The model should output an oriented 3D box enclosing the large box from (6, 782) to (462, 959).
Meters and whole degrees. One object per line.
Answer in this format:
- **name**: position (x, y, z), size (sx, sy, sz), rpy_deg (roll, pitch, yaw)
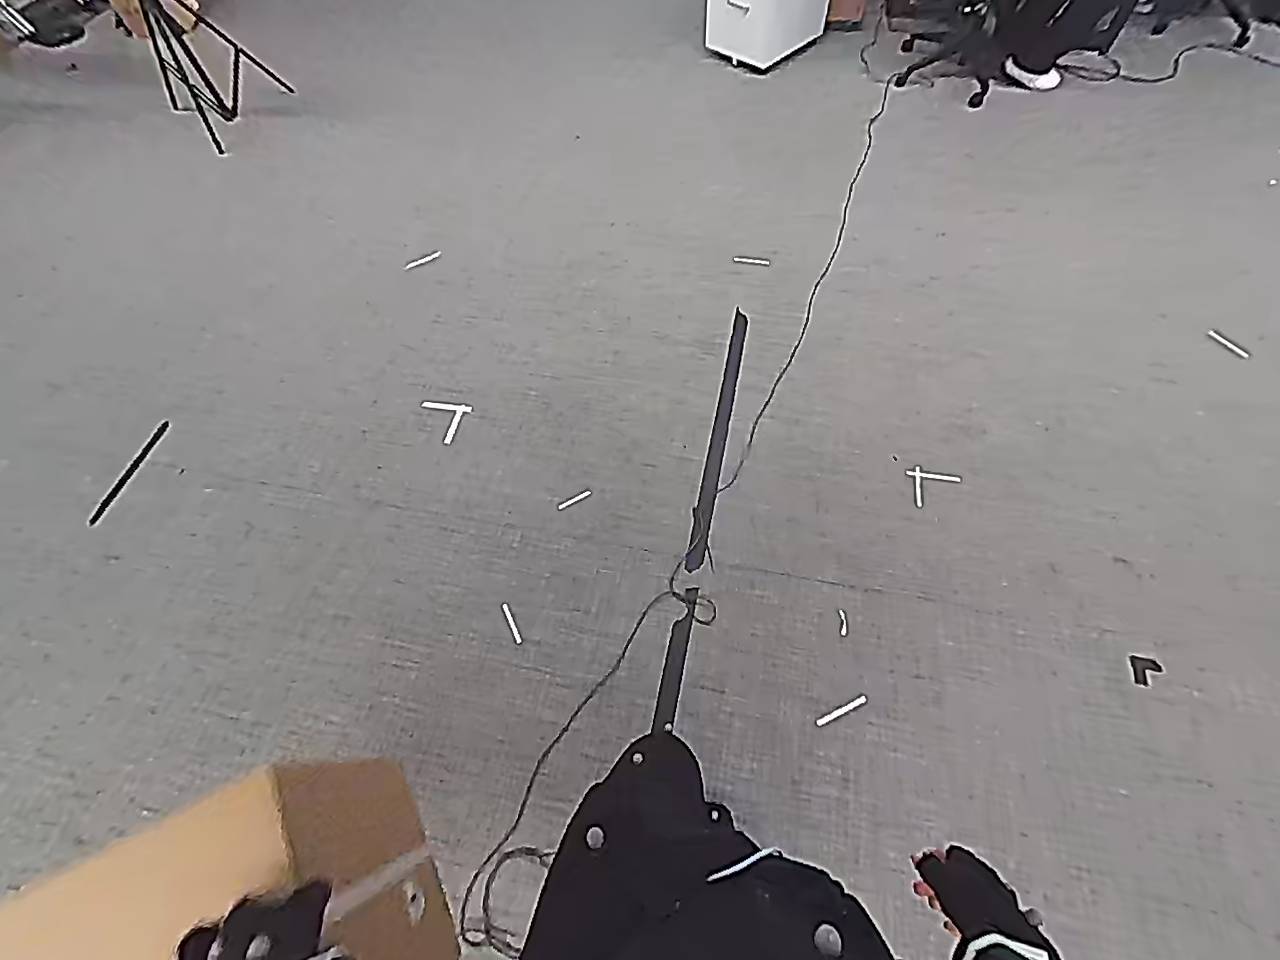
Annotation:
- **large box**: position (-0.456, 0.613, 0.654), size (0.320, 0.408, 0.320), rpy_deg (-26, 67, -16)
